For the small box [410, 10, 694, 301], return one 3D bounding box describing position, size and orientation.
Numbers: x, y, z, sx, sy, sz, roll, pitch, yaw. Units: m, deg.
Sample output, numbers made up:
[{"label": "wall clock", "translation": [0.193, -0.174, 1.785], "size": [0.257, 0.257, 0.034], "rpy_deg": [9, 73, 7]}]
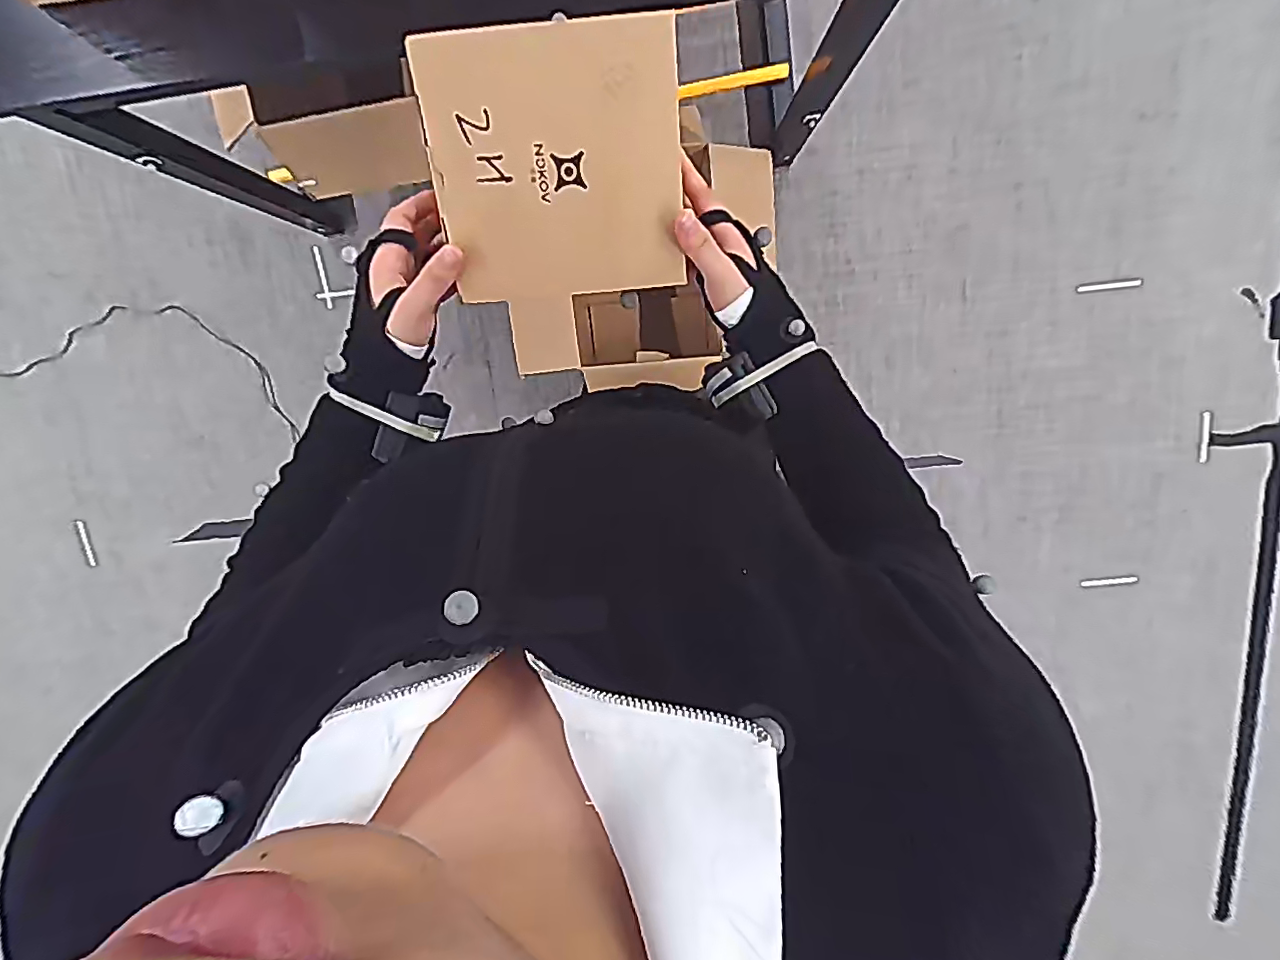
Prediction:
[{"label": "small box", "translation": [-0.055, -0.246, 0.441], "size": [0.179, 0.176, 0.168], "rpy_deg": [-5, 114, 1]}]
